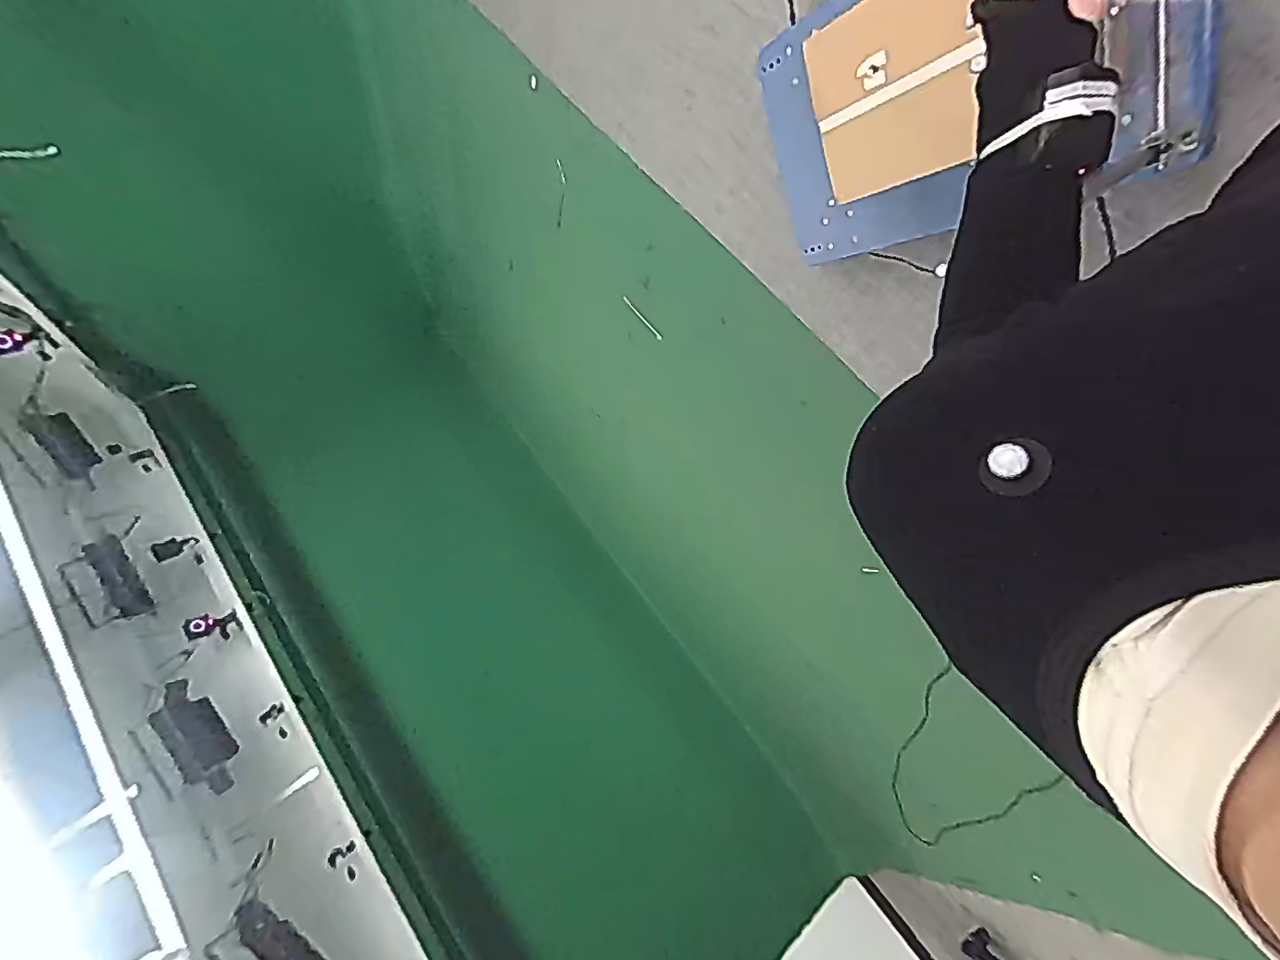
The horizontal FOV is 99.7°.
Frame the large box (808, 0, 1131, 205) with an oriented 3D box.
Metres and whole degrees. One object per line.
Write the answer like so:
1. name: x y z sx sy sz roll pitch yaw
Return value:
1. large box: 0.602 -0.775 1.012 0.408 0.320 0.320 13 129 57
